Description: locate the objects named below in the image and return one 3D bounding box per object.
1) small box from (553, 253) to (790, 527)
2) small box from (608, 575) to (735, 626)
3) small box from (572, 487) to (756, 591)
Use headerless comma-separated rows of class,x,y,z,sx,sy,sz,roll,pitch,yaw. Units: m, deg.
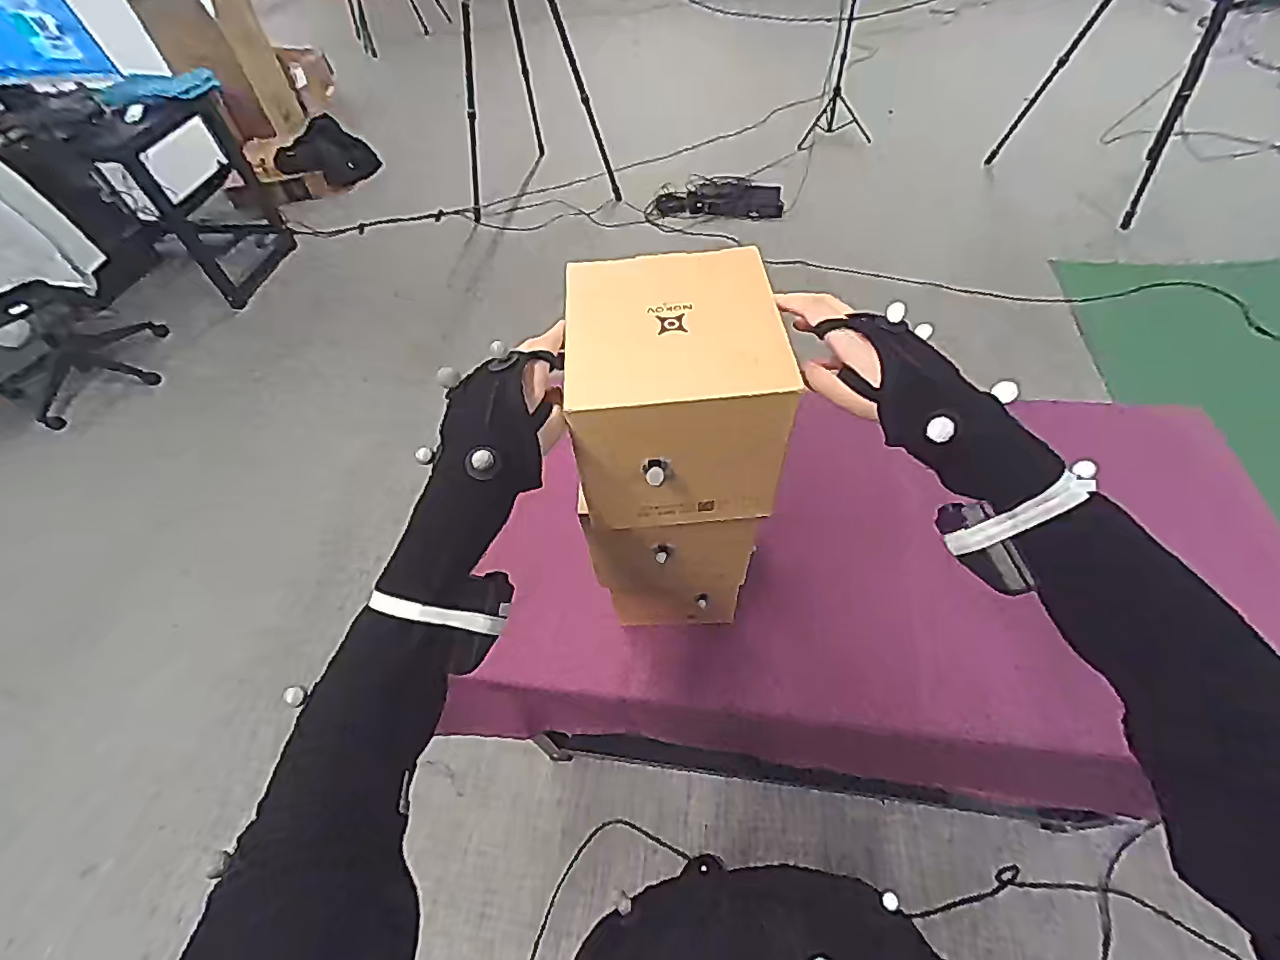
small box,0.023,-0.069,0.477,0.168,0.176,0.179,-5,54,1
small box,0.043,0.095,0.762,0.168,0.176,0.179,-1,52,3
small box,0.027,0.018,0.616,0.179,0.176,0.168,-2,54,3
